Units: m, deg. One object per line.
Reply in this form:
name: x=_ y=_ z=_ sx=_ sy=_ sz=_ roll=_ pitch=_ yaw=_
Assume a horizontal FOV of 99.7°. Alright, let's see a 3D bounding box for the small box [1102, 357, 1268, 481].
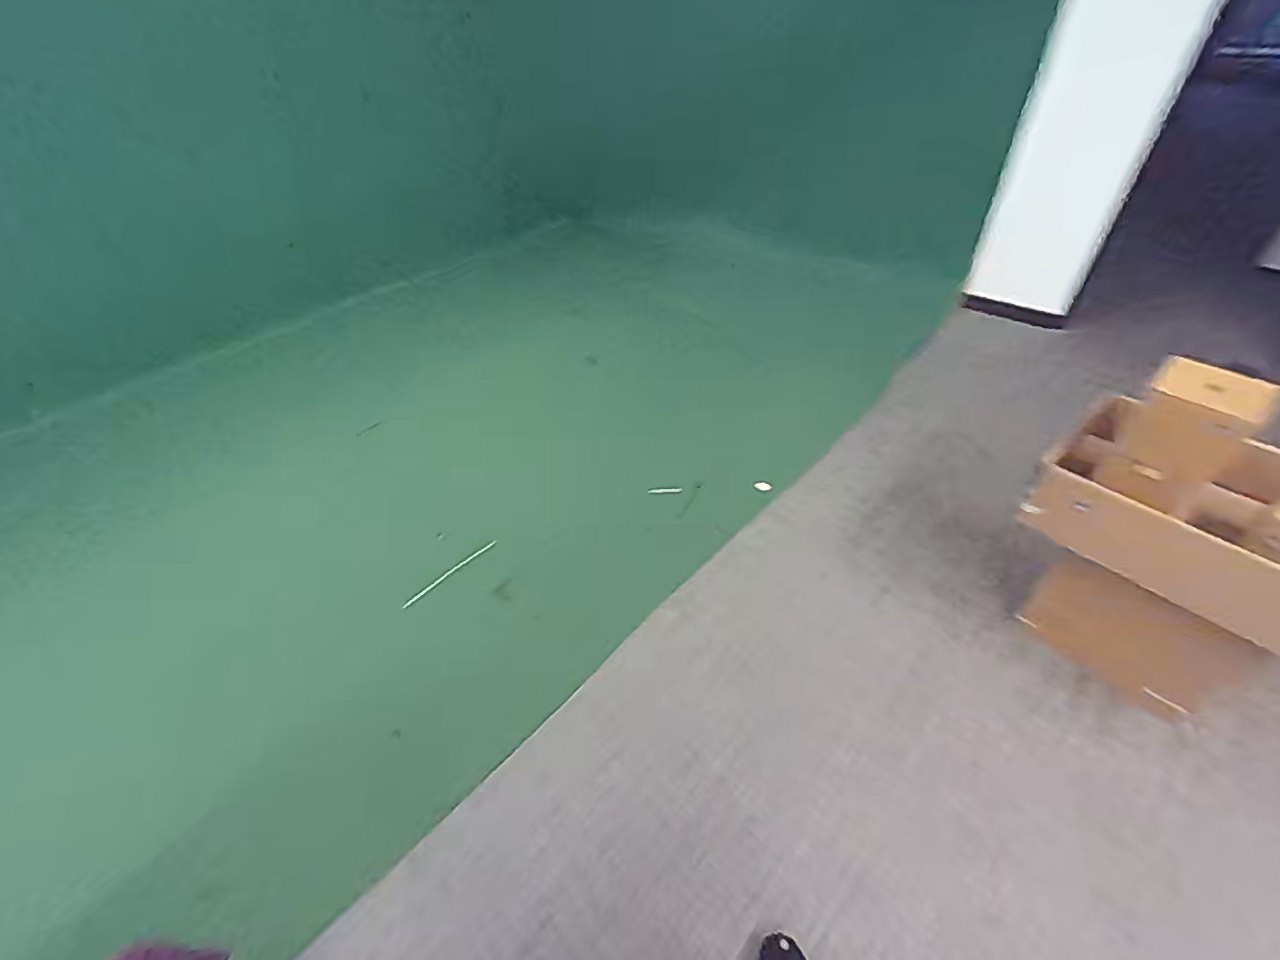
small box: x=1.138 y=-0.128 z=1.144 sx=0.168 sy=0.176 sz=0.179 roll=-34 pitch=53 yaw=-26
